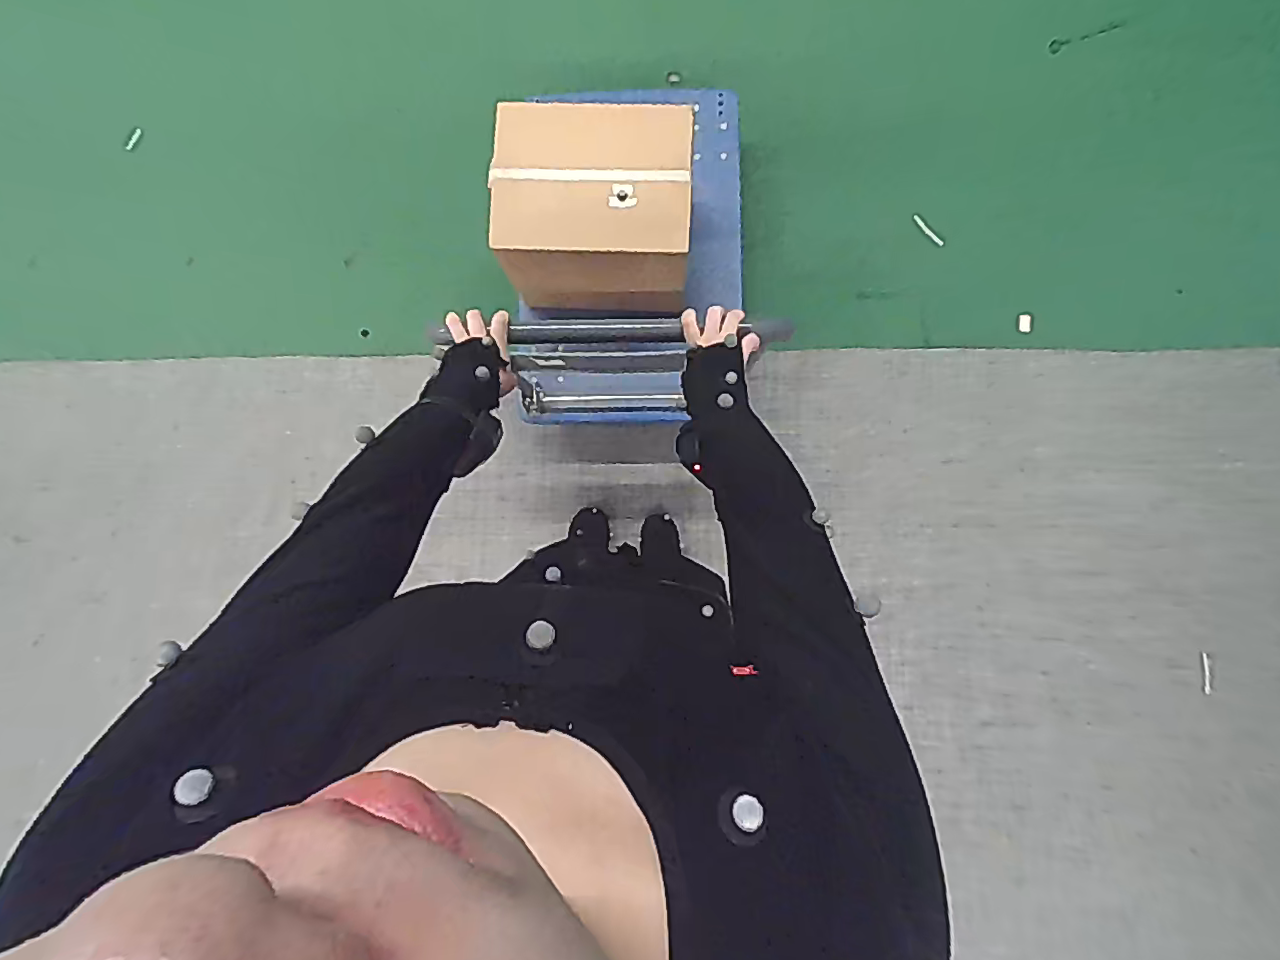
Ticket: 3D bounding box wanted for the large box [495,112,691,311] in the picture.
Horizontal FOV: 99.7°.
[{"bbox_3d":[-0.095,-0.600,1.259,0.408,0.320,0.320,2,85,1],"label":"large box"}]
